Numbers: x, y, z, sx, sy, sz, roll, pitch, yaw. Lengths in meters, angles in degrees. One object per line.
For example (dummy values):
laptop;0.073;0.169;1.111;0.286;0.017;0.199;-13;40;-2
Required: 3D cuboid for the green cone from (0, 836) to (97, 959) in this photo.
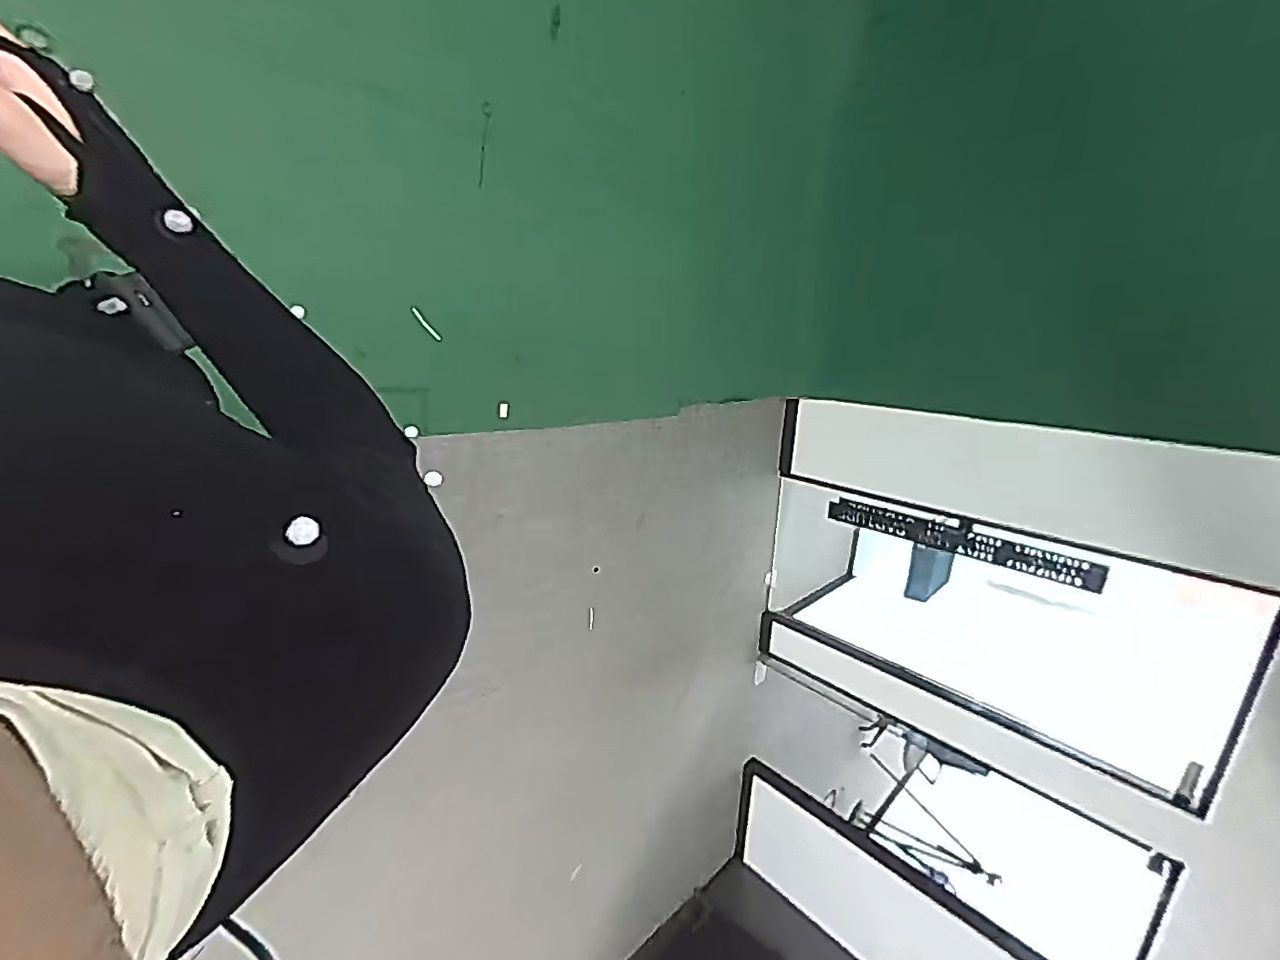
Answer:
green cone;-1.288;0.981;1.125;0.202;0.368;0.200;-11;109;-42
